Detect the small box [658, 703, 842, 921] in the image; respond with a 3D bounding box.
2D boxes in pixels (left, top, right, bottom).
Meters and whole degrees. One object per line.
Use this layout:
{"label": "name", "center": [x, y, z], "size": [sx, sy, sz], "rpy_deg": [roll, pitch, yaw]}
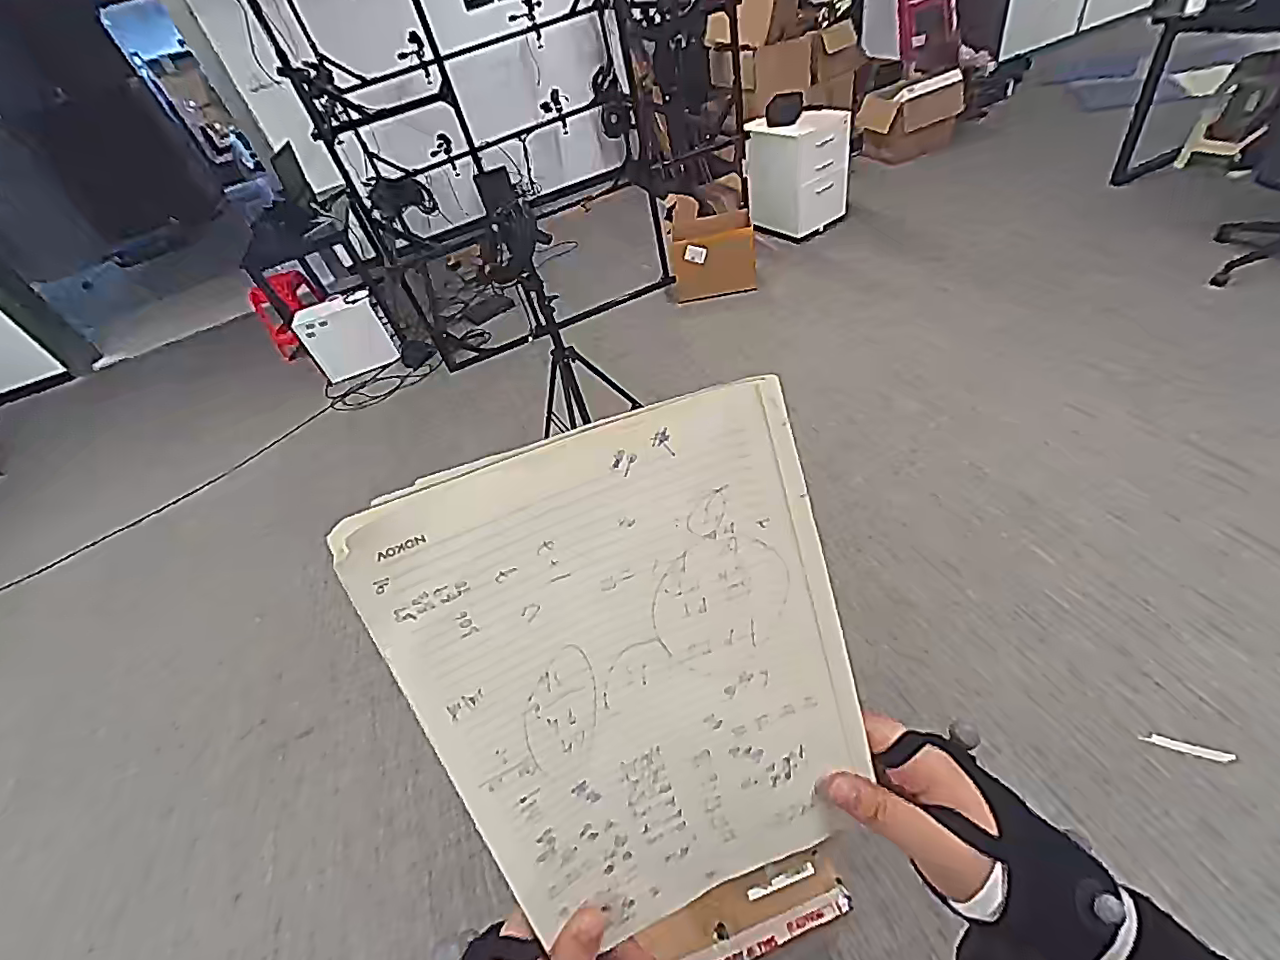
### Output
{"label": "small box", "center": [0.131, 0.423, 0.690], "size": [0.168, 0.176, 0.179], "rpy_deg": [-17, 46, -4]}
